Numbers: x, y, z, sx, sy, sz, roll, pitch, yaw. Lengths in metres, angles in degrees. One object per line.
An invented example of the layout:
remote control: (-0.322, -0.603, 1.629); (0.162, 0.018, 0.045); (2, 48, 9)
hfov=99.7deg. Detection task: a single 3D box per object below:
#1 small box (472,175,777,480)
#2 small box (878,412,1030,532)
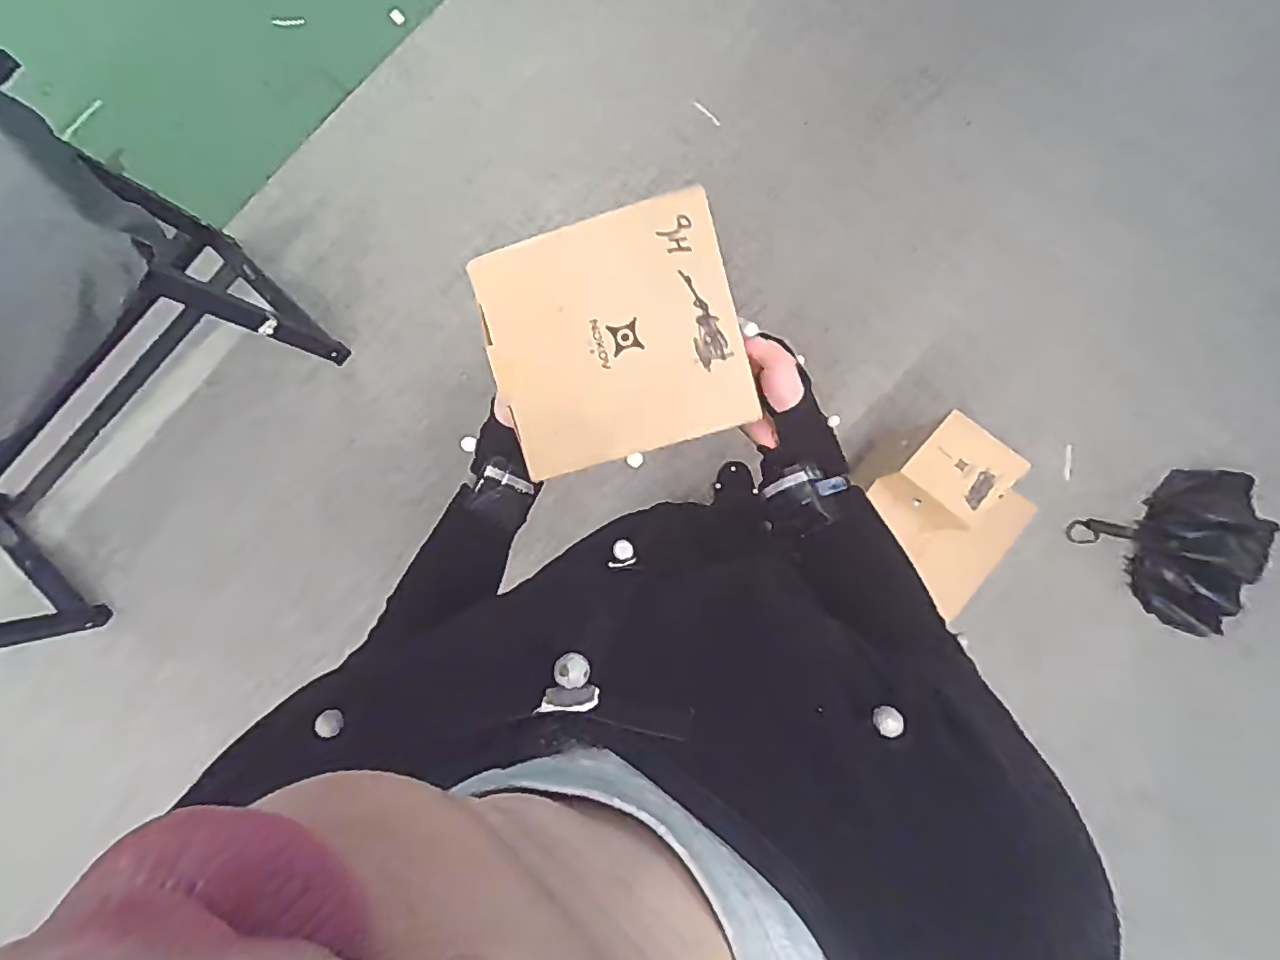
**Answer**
small box: (-0.004, -0.106, 0.440); (0.179, 0.176, 0.168); (-15, 96, 6)
small box: (0.628, -0.011, 1.108); (0.179, 0.176, 0.168); (41, 90, 10)
